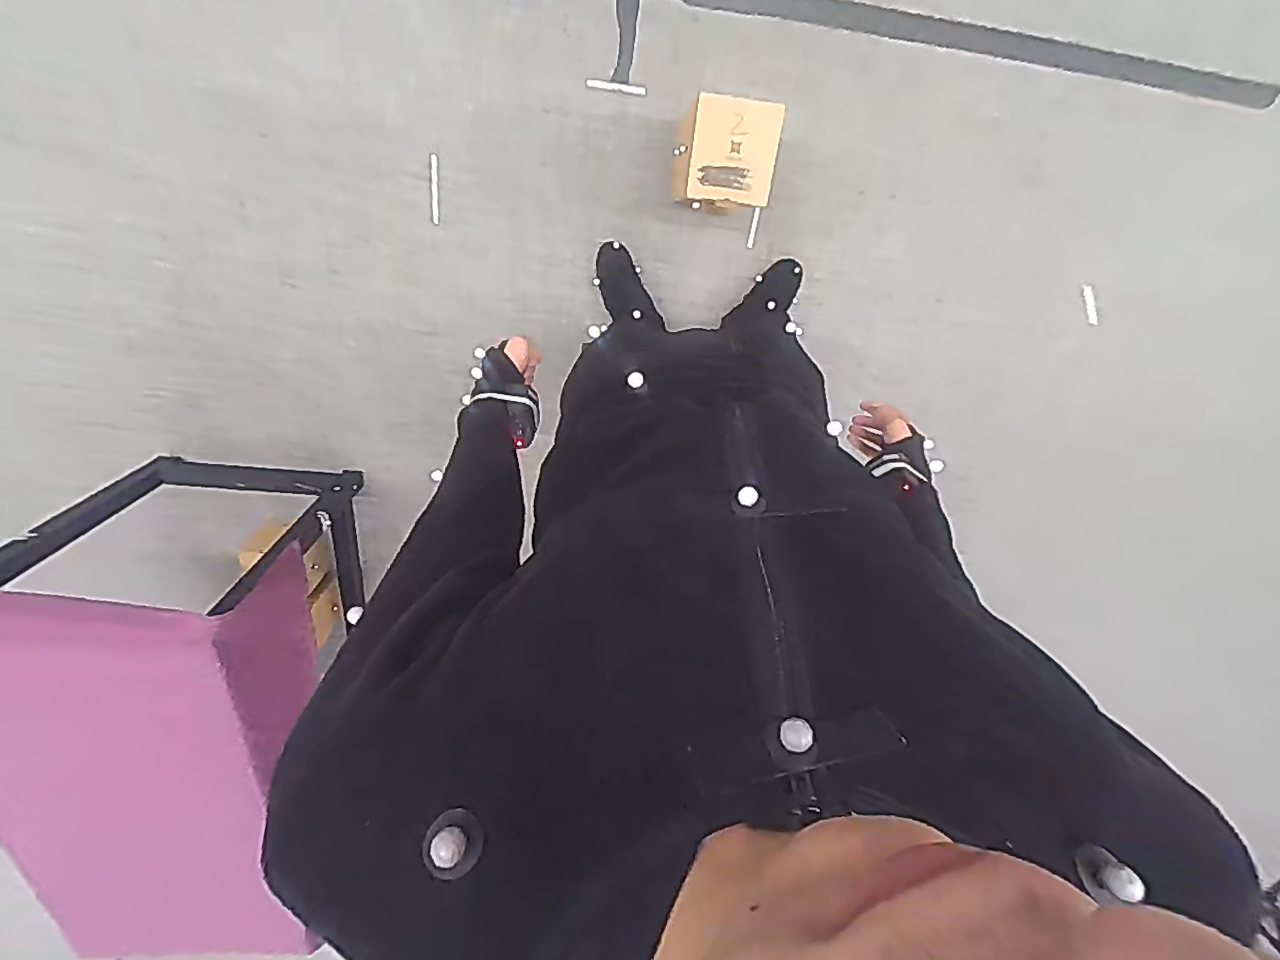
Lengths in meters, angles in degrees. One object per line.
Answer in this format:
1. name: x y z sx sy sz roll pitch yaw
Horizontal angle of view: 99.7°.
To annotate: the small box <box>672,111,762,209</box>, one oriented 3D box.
1. small box: 0.169 -0.735 1.255 0.168 0.176 0.179 2 118 -5
